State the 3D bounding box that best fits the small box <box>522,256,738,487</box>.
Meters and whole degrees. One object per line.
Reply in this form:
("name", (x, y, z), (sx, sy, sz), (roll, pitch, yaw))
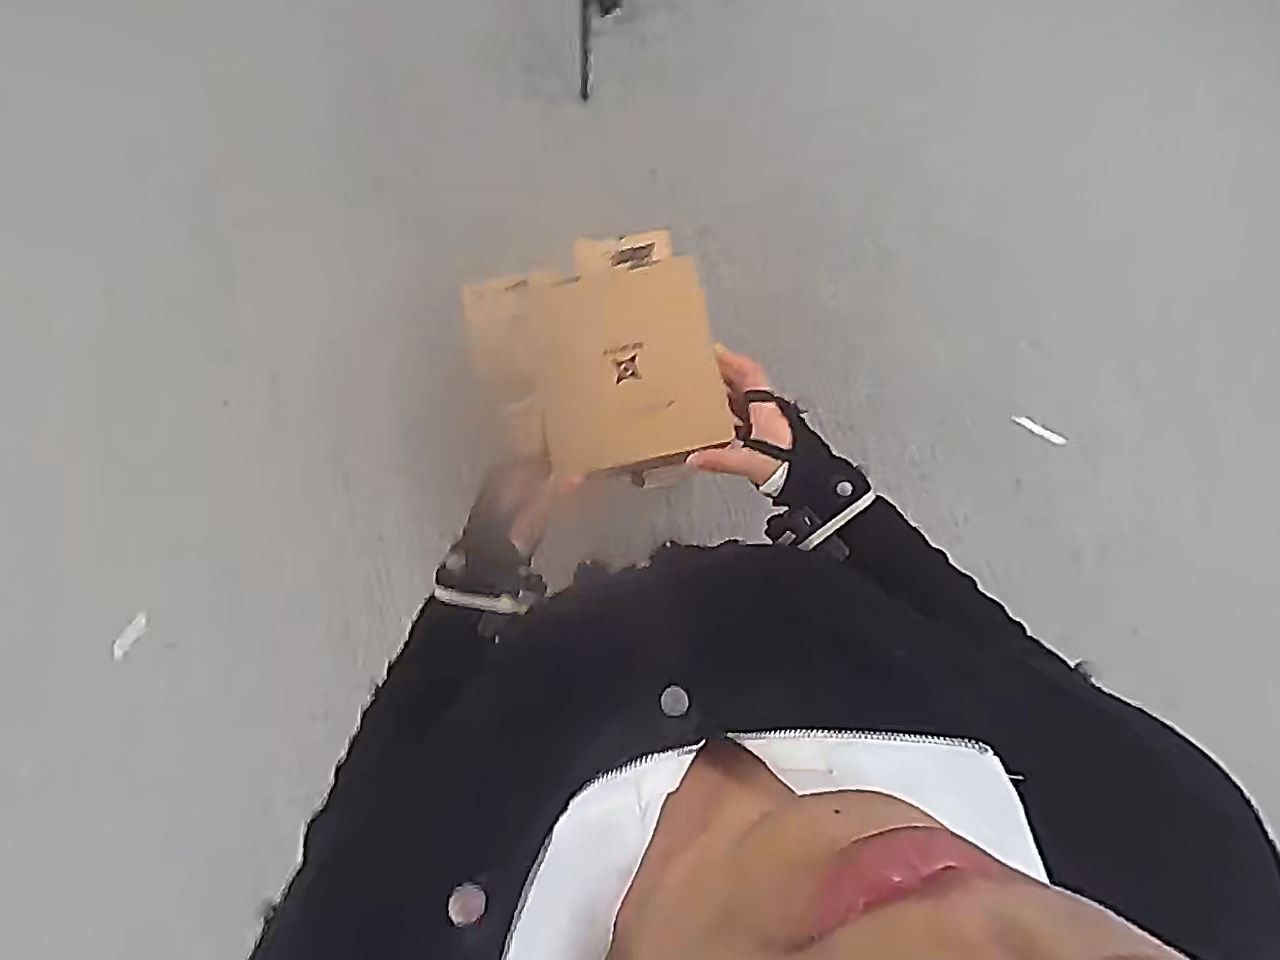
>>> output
("small box", (-0.010, -0.095, 0.556), (0.168, 0.176, 0.179), (-12, 87, 1))
